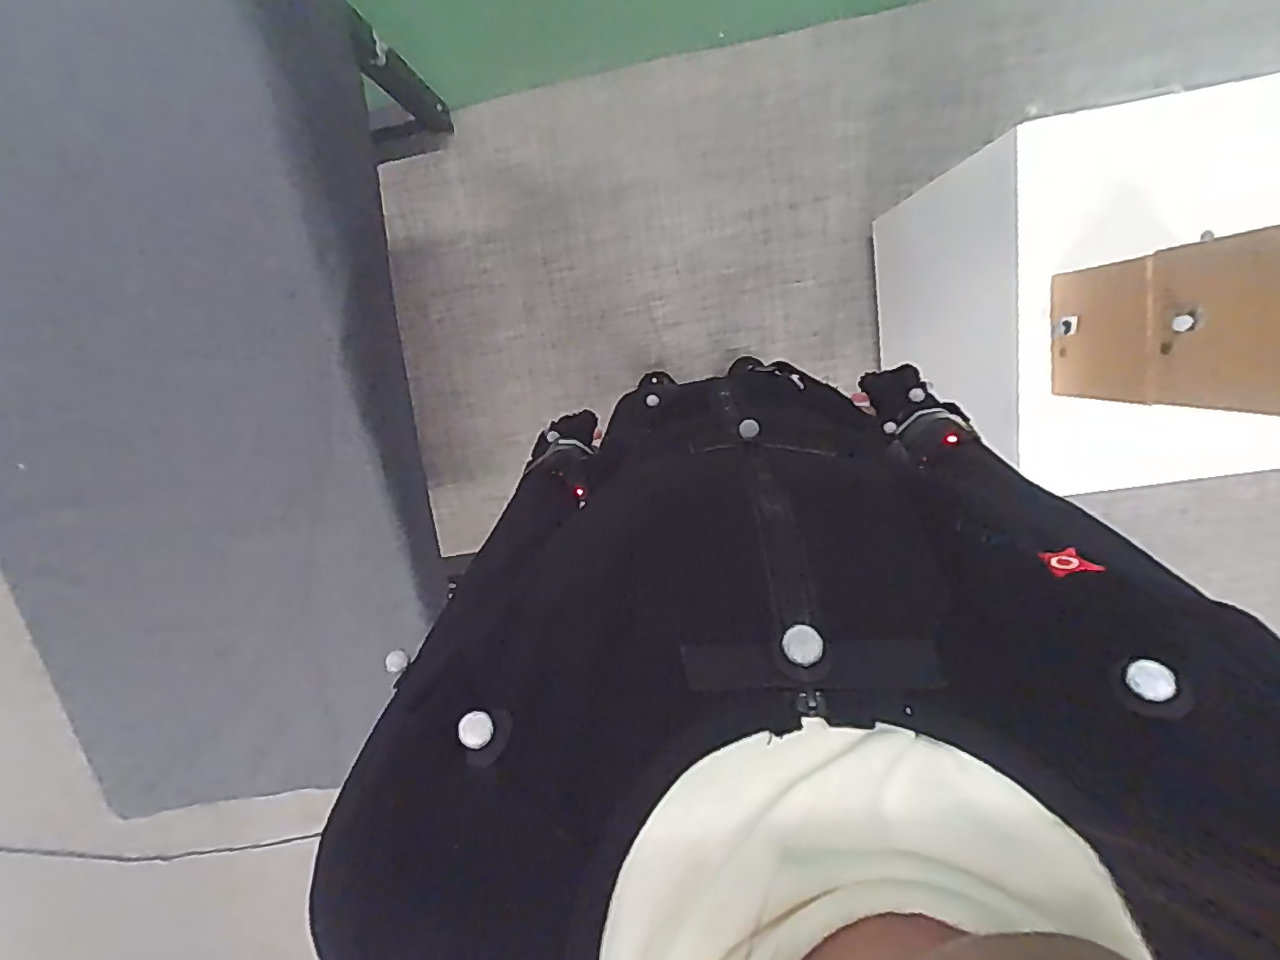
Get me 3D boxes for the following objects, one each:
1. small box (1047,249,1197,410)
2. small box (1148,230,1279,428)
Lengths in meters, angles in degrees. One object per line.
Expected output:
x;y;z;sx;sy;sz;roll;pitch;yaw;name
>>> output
0.637;-0.186;0.653;0.179;0.176;0.168;-9;102;8;small box
0.627;-0.150;0.493;0.179;0.176;0.168;-11;102;6;small box
